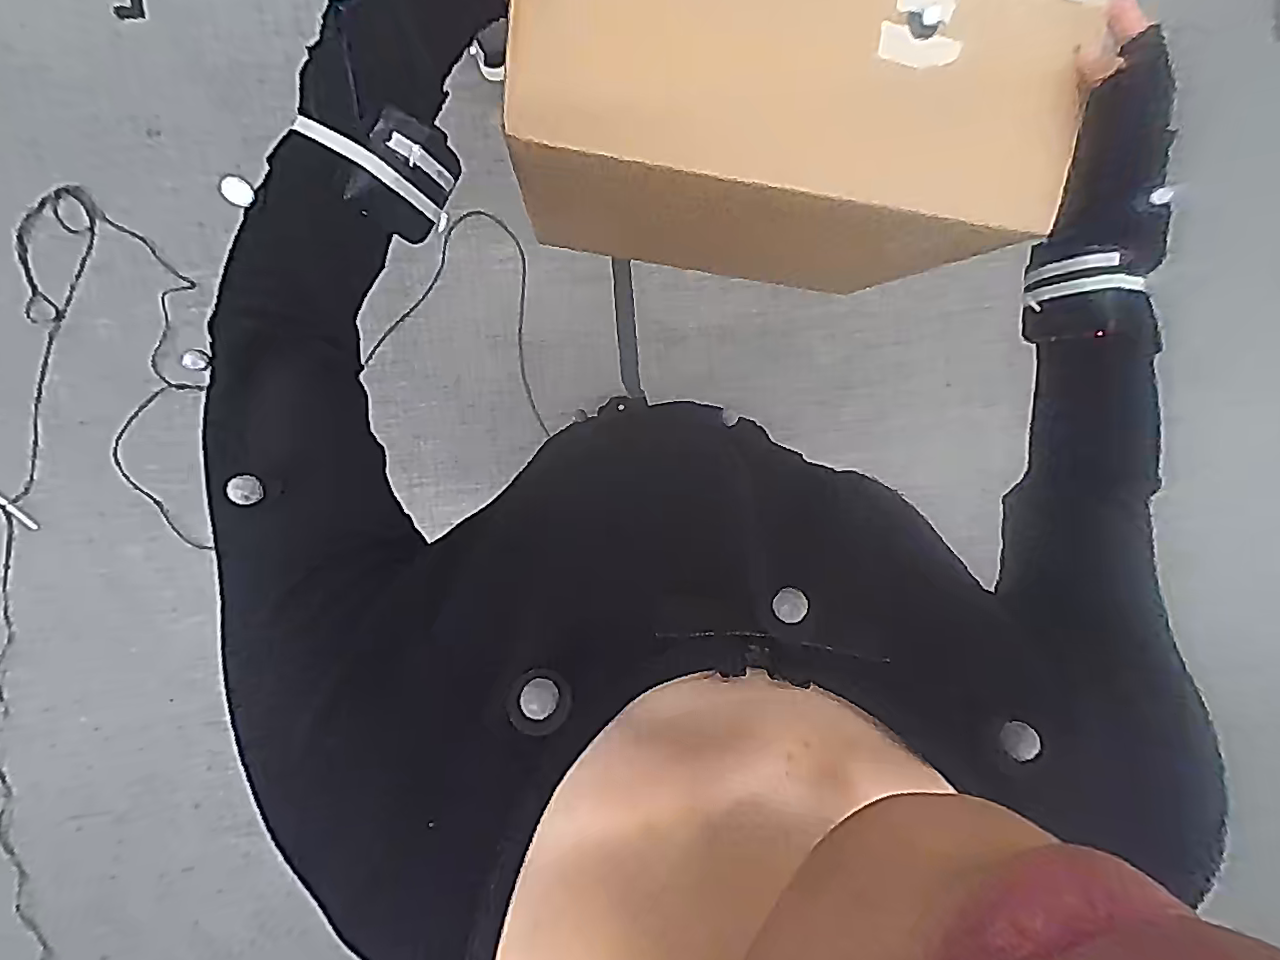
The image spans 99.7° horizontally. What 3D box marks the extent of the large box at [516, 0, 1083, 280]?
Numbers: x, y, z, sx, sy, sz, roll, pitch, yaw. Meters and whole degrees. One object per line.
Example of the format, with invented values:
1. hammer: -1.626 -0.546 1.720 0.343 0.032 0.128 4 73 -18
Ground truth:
1. large box: 0.105 -0.395 0.508 0.408 0.320 0.320 5 101 -8
